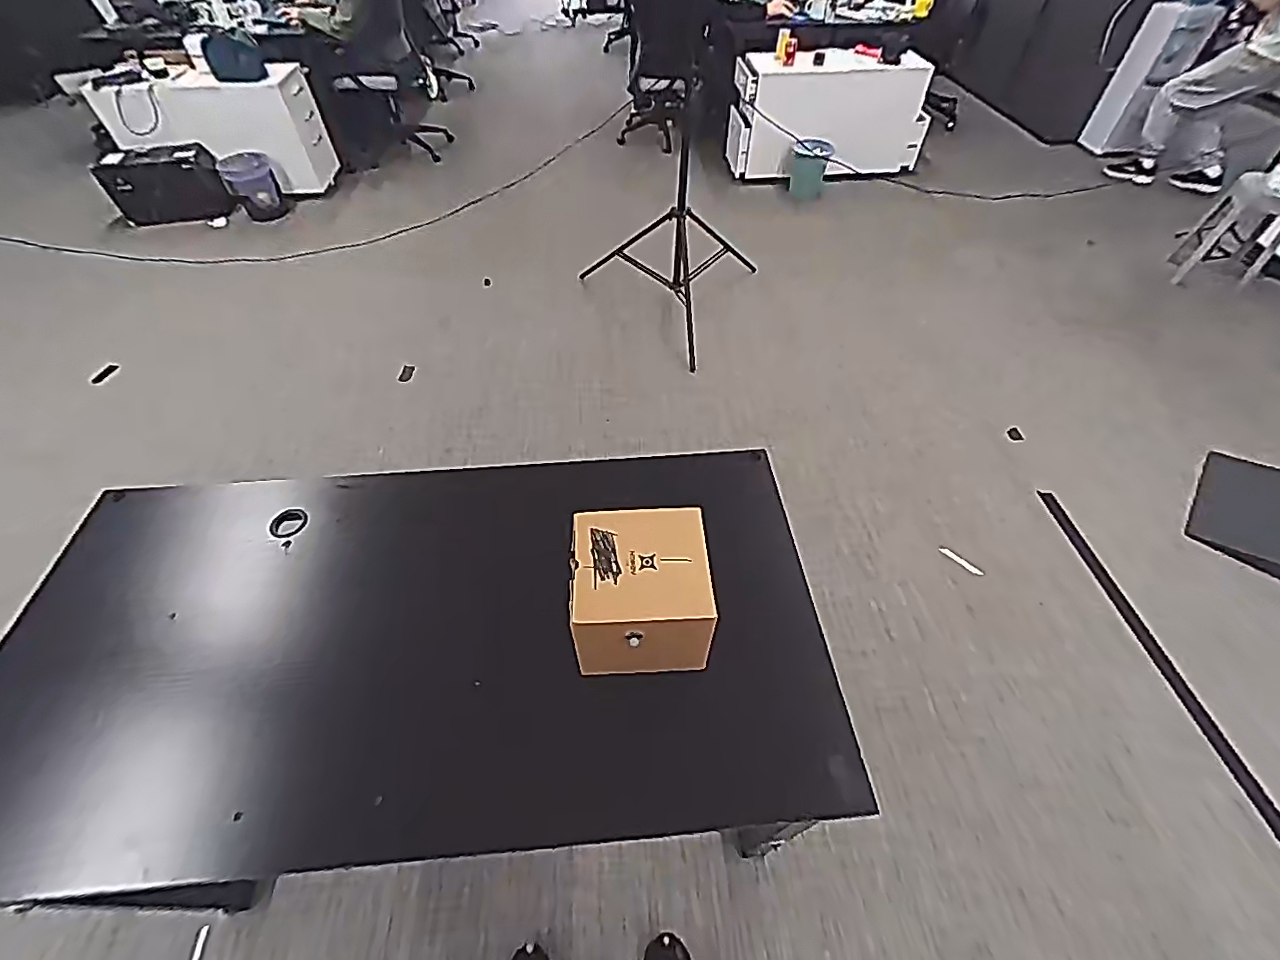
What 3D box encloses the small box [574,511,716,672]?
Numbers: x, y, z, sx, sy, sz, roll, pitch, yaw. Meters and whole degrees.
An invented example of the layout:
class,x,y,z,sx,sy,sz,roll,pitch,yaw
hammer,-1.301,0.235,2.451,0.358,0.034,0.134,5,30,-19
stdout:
class,x,y,z,sx,sy,sz,roll,pitch,yaw
small box,0.005,0.161,0.764,0.179,0.176,0.168,-2,50,-2
